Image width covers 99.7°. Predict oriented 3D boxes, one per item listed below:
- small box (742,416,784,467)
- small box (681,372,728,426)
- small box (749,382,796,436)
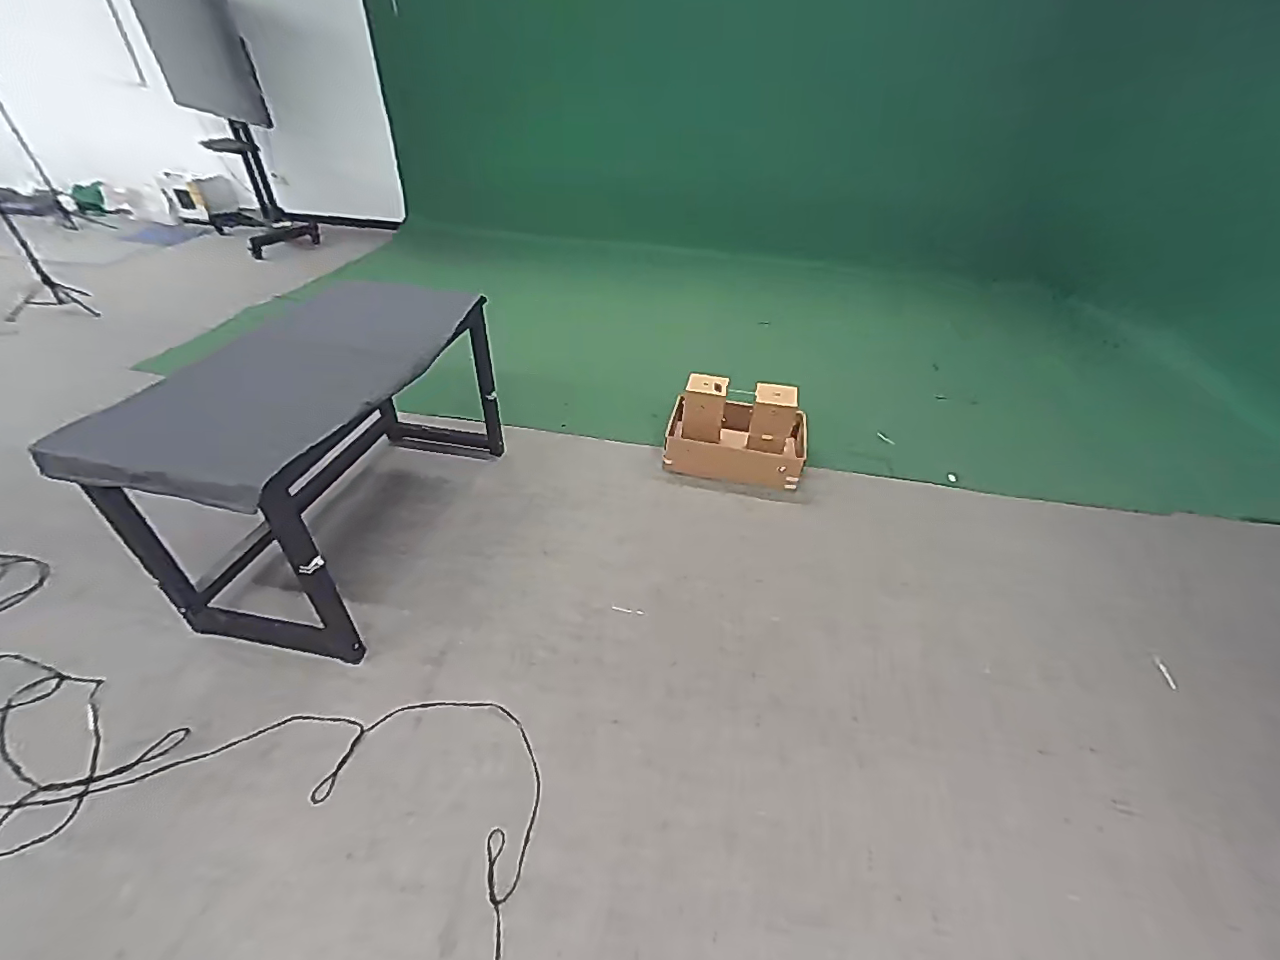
[{"bbox_3d":[0.565,-0.179,2.471,0.168,0.176,0.179,11,41,10],"label":"small box"},{"bbox_3d":[0.286,-0.360,2.409,0.179,0.176,0.168,10,40,9],"label":"small box"},{"bbox_3d":[0.578,-0.309,2.372,0.179,0.176,0.168,9,41,7],"label":"small box"}]
